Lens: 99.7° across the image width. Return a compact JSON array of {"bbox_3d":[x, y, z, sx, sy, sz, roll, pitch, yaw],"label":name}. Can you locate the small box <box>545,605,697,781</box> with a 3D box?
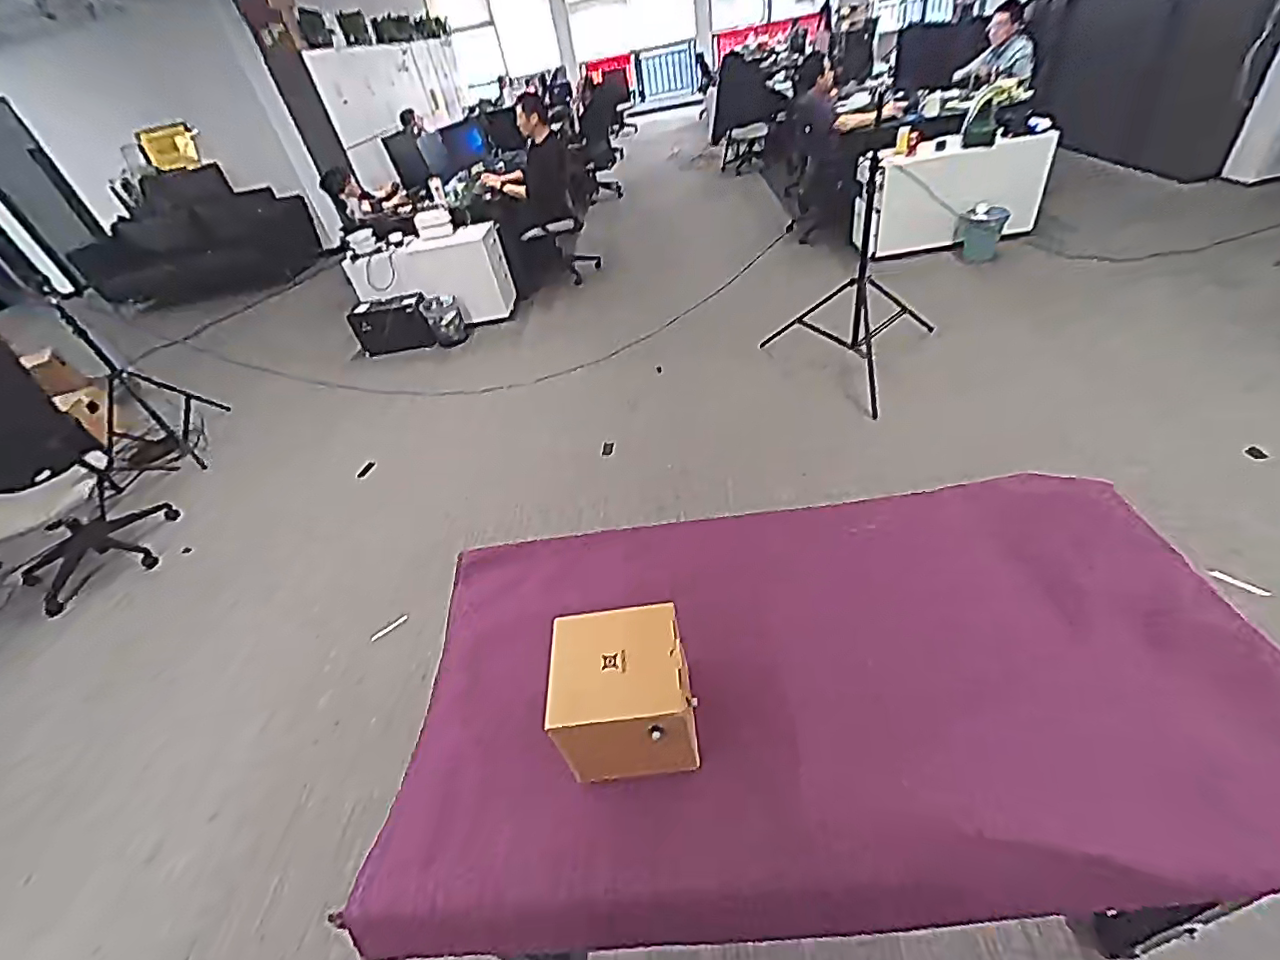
[{"bbox_3d":[-0.022,0.304,0.767,0.179,0.176,0.168,-9,39,3],"label":"small box"}]
